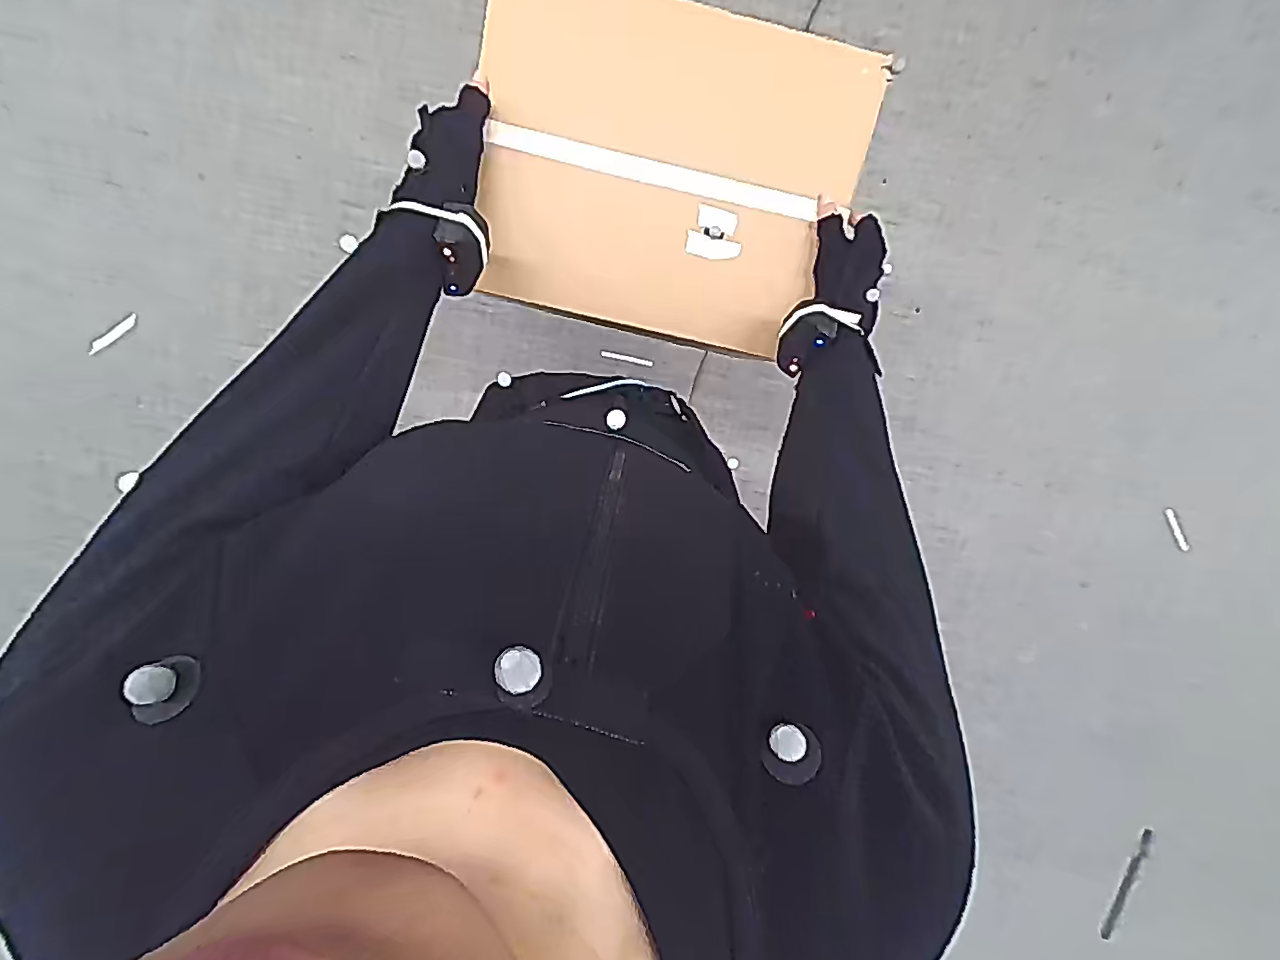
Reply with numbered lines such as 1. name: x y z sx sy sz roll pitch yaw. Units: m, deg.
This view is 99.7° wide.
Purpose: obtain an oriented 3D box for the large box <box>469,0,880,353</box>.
1. large box: 0.023 -0.367 0.731 0.408 0.320 0.320 12 105 -5
